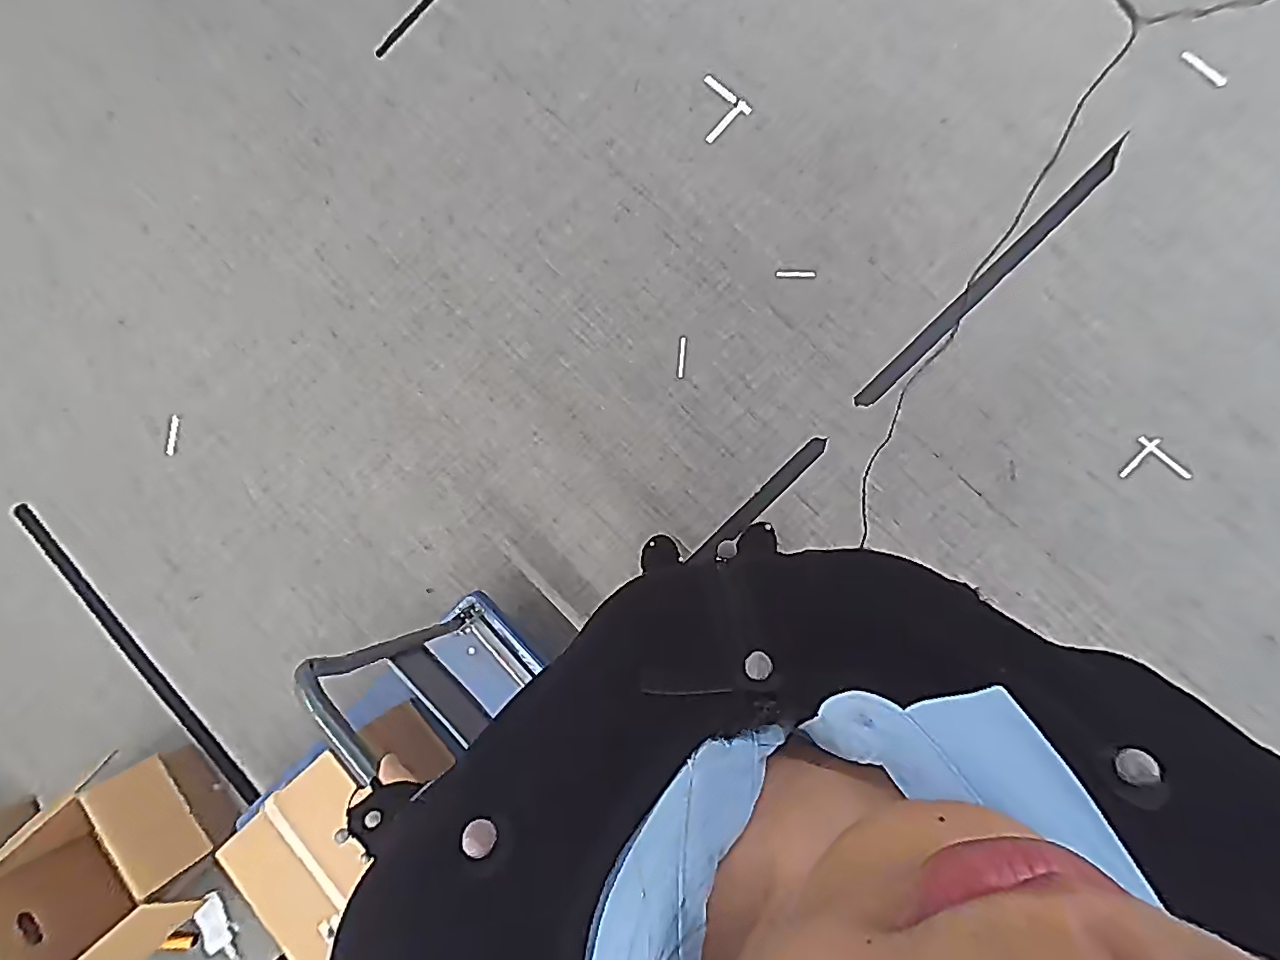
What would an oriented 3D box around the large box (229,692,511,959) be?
[{"bbox_3d":[-0.566,0.764,1.201,0.320,0.320,0.408,-43,84,2],"label":"large box"}]
